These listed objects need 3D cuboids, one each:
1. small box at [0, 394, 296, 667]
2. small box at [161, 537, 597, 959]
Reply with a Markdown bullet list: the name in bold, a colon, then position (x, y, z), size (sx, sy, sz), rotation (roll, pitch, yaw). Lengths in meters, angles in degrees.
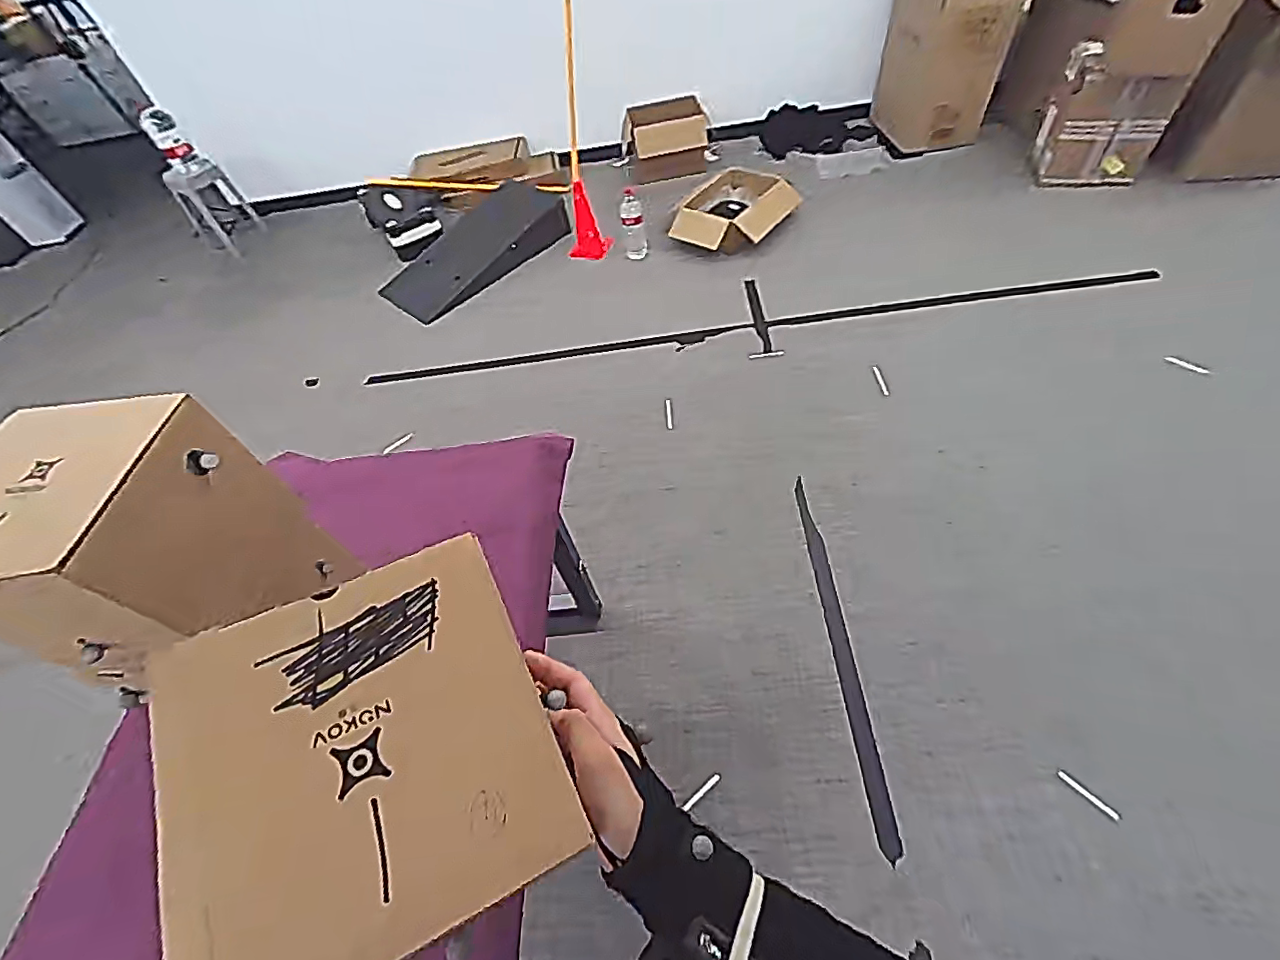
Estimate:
- **small box**: position (-0.451, 0.050, 0.481), size (0.168, 0.176, 0.179), rotation (-6, 52, 6)
- **small box**: position (-0.136, 0.169, 0.323), size (0.168, 0.176, 0.179), rotation (-22, 61, -18)
